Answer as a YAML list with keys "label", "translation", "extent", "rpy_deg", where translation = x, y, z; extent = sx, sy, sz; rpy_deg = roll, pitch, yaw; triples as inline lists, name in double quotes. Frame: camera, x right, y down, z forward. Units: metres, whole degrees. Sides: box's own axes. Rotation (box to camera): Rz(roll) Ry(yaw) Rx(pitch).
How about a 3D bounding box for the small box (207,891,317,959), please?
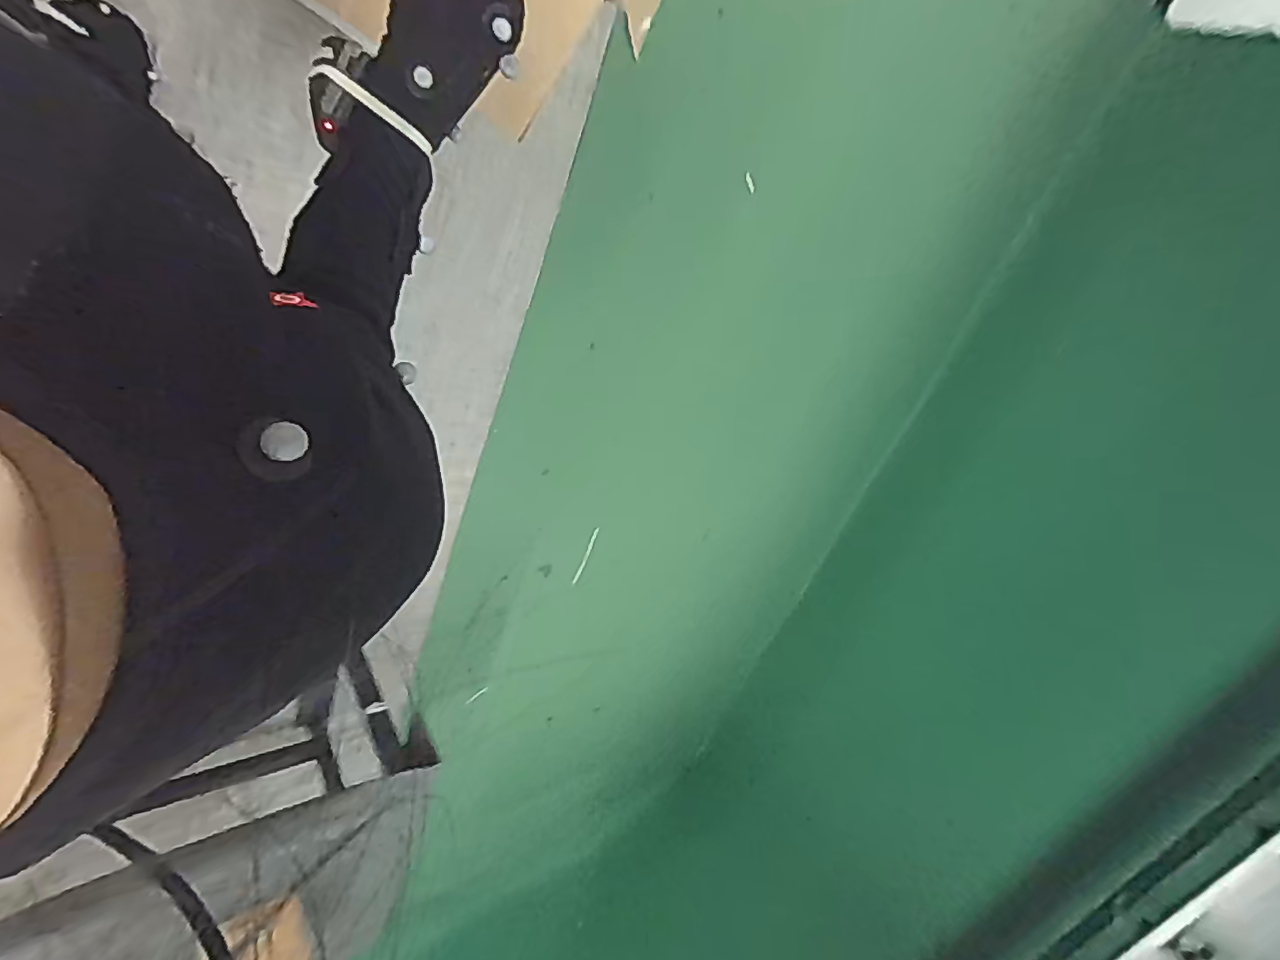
- label: "small box"
  translation: [-0.807, 1.036, 1.151]
  extent: [0.168, 0.176, 0.179]
  rpy_deg: [0, 121, -45]
